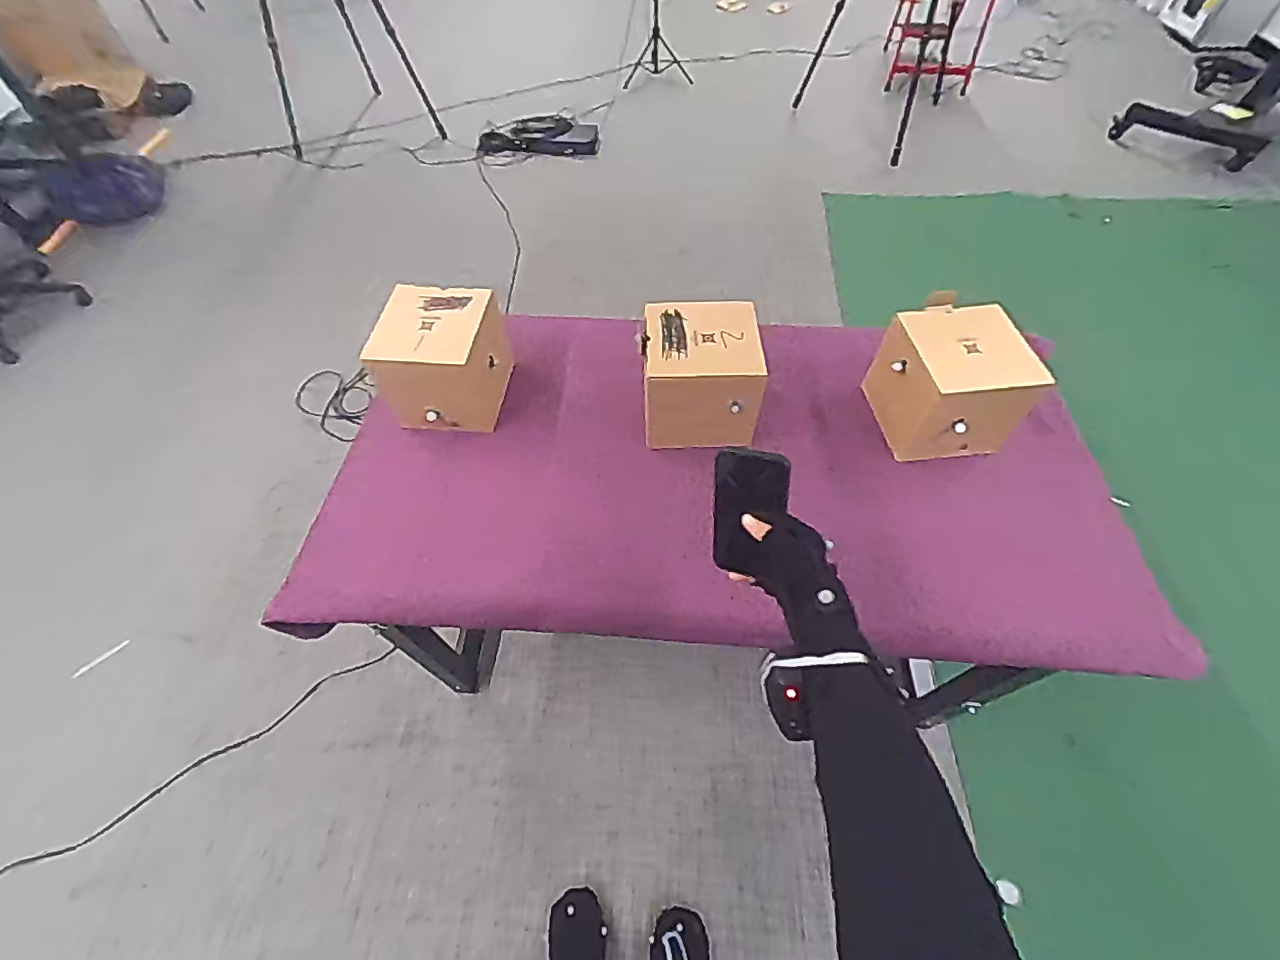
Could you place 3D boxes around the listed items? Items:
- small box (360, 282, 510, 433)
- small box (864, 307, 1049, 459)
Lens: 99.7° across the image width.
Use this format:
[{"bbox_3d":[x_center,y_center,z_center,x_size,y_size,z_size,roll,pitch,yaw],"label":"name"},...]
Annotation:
[{"bbox_3d":[-0.327,-0.203,0.907,0.168,0.176,0.179,4,58,4],"label":"small box"},{"bbox_3d":[0.483,-0.146,0.859,0.168,0.176,0.179,-6,55,-2],"label":"small box"}]
